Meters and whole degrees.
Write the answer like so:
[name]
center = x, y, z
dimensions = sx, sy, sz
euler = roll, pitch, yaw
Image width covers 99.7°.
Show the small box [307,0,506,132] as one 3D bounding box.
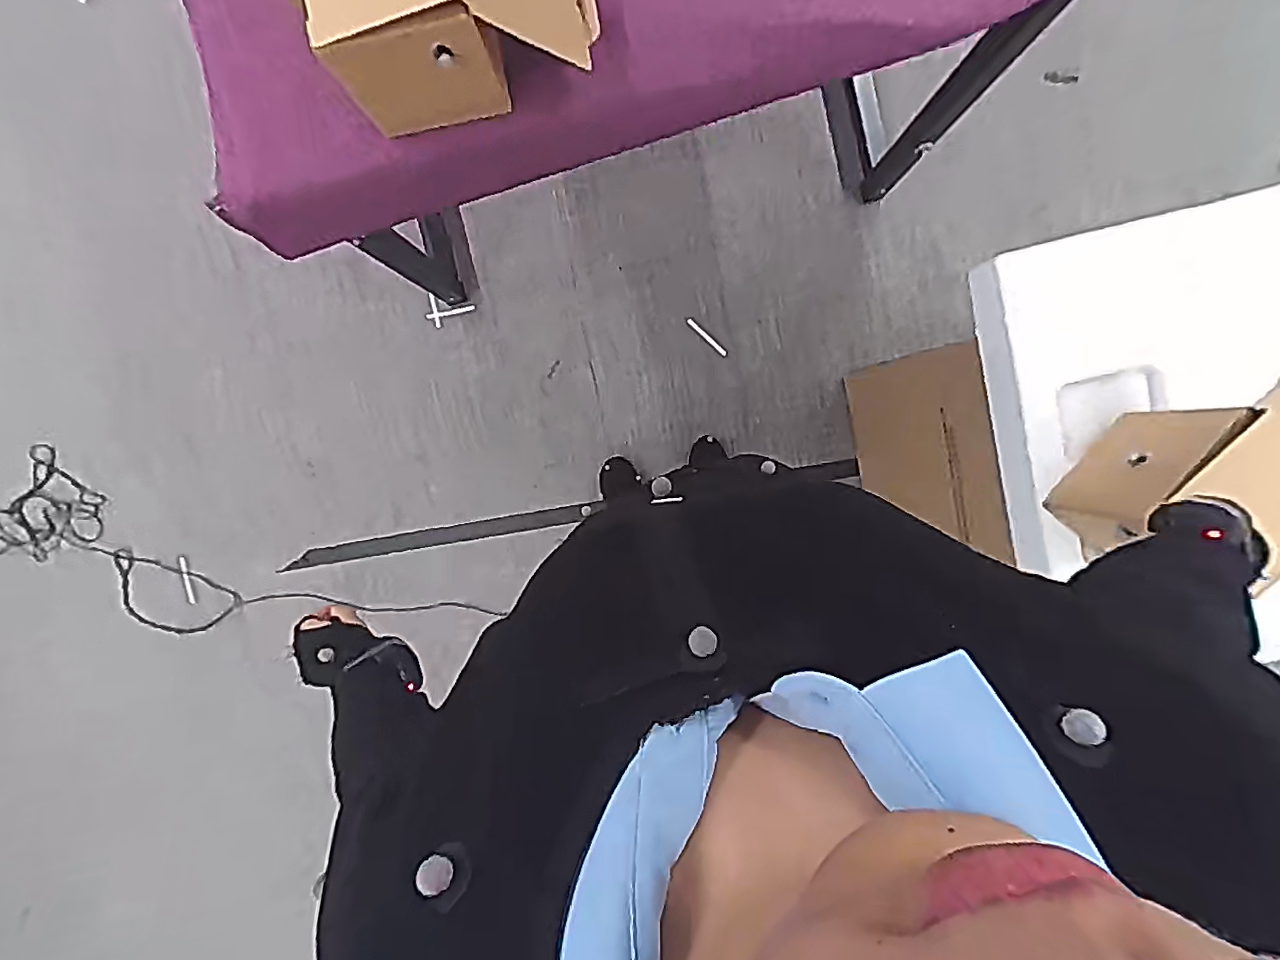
[small box]
center = -0.271, -0.557, 0.646
dimensions = 0.179, 0.176, 0.168
euler = -11, 92, 3
